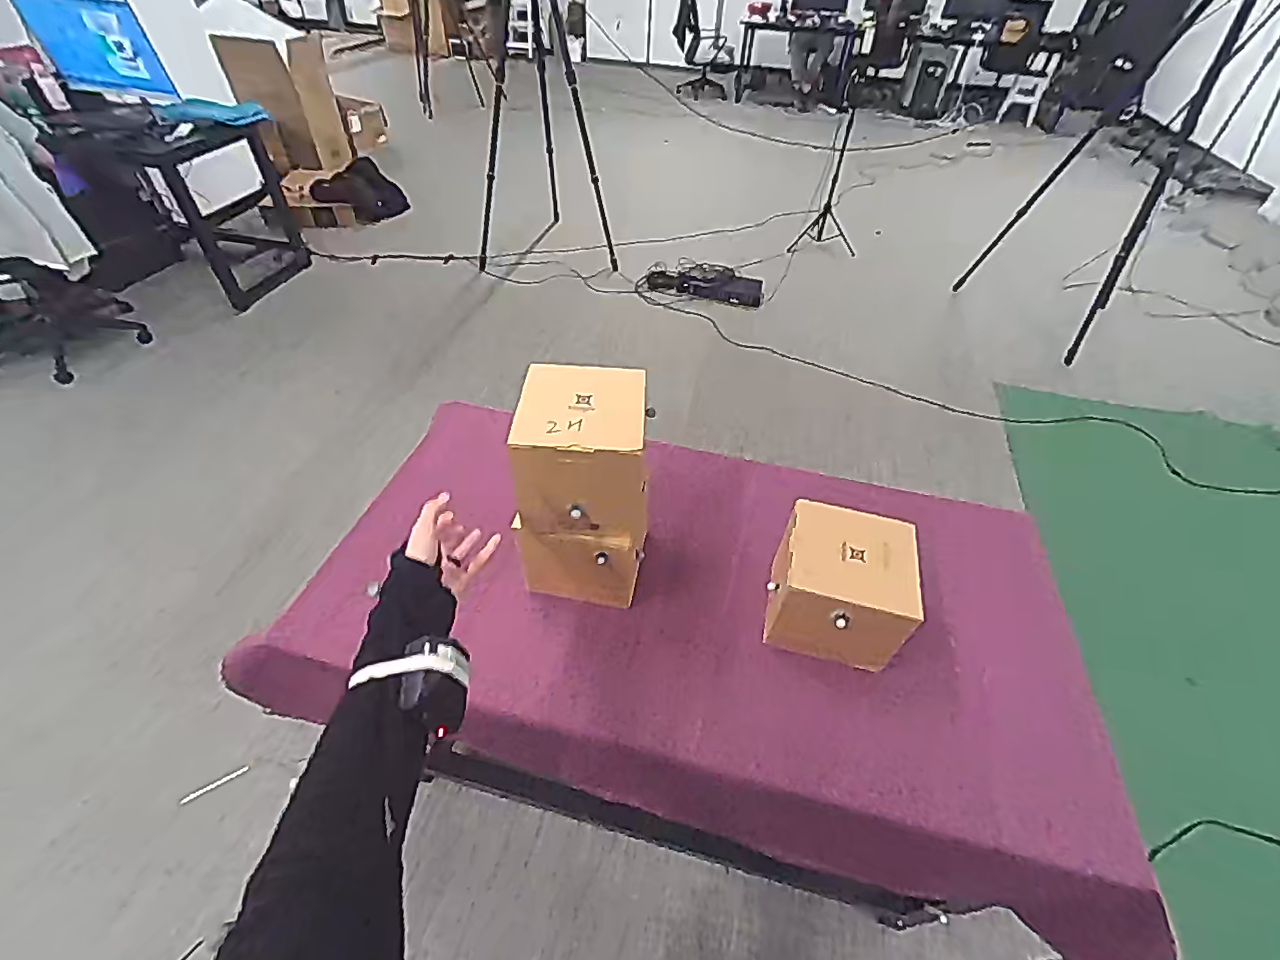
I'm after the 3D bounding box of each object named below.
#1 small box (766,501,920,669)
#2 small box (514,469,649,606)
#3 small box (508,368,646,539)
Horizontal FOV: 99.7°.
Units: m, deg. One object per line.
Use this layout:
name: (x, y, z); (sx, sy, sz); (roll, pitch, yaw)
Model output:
small box: (0.297, 0.161, 0.819); (0.179, 0.176, 0.168); (13, 48, 9)
small box: (-0.087, 0.085, 0.877); (0.179, 0.176, 0.168); (9, 46, 5)
small box: (-0.079, -0.037, 0.766); (0.168, 0.176, 0.179); (2, 46, 0)
